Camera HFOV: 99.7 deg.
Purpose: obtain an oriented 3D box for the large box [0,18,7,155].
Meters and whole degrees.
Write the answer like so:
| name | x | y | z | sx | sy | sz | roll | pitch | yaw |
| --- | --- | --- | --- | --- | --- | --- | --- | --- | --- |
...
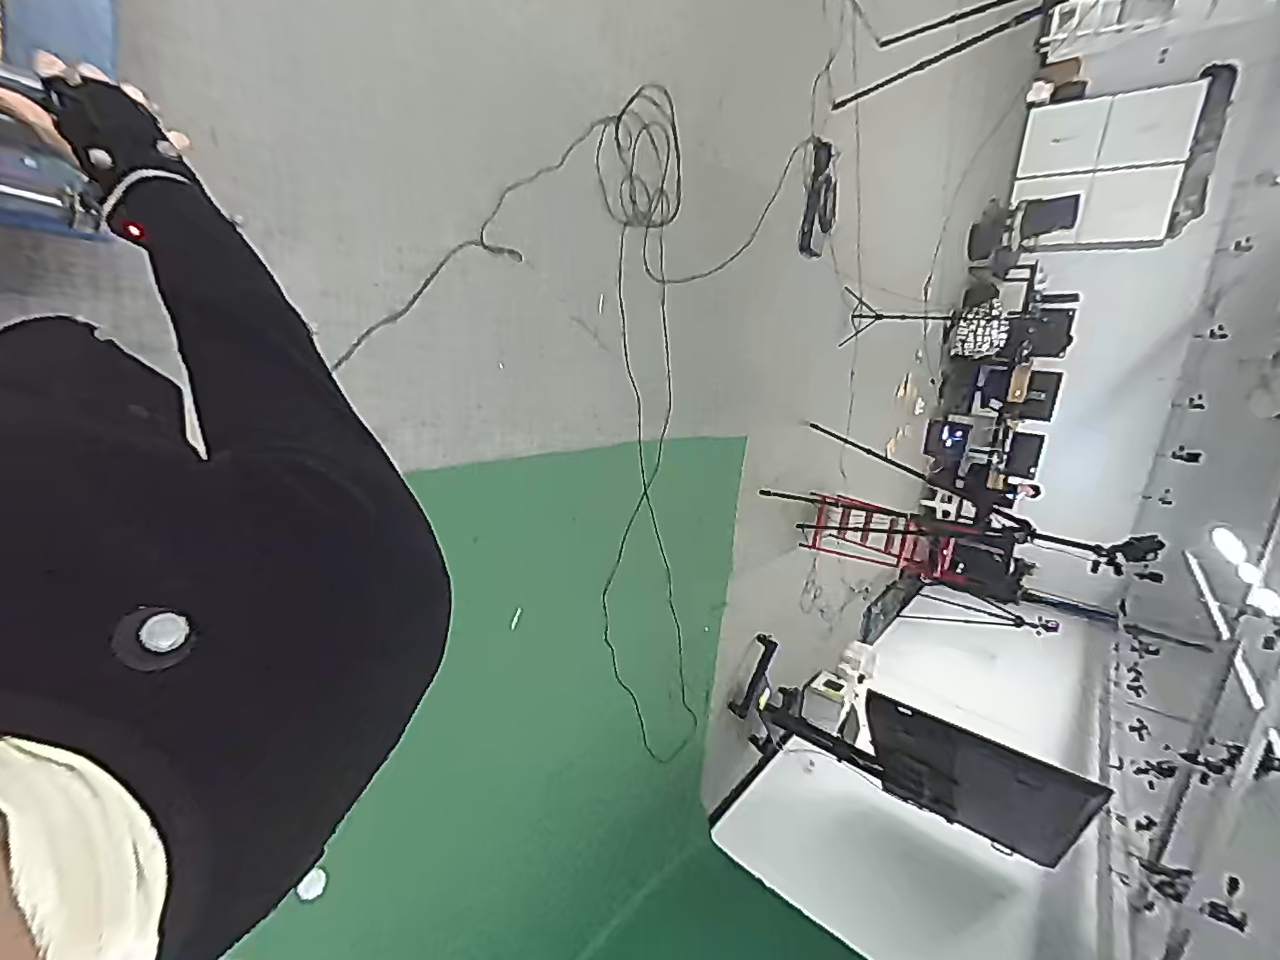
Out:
| name | x | y | z | sx | sy | sz | roll | pitch | yaw |
| --- | --- | --- | --- | --- | --- | --- | --- | --- | --- |
| large box | -1.037 | -0.697 | 0.665 | 0.320 | 0.320 | 0.408 | -4 | 103 | -50 |
